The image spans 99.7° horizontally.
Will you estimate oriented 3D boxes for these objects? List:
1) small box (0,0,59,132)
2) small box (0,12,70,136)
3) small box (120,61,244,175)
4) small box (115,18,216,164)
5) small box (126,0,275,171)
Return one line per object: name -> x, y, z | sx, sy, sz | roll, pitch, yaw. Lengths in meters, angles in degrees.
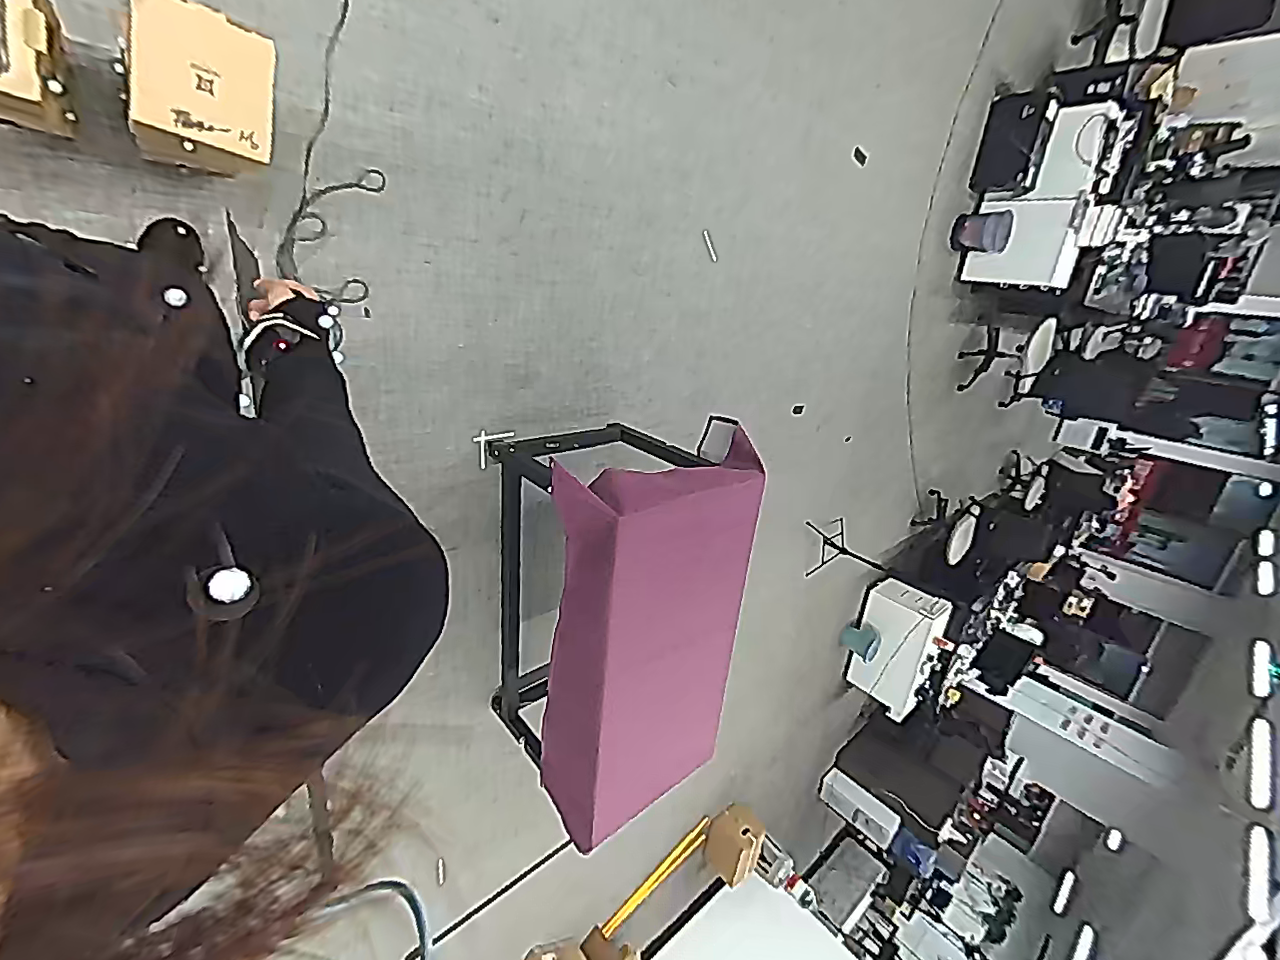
small box -> -0.983, -0.636, 0.792 | 0.179, 0.176, 0.168 | -1, 109, -43
small box -> -1.084, -0.705, 0.902 | 0.168, 0.176, 0.179 | -6, 113, -42
small box -> -0.905, -0.722, 1.071 | 0.168, 0.176, 0.179 | -11, 117, -40
small box -> -0.798, -0.669, 0.962 | 0.179, 0.176, 0.168 | -9, 115, -40
small box -> -0.692, -0.613, 0.849 | 0.168, 0.176, 0.179 | 0, 108, -44
